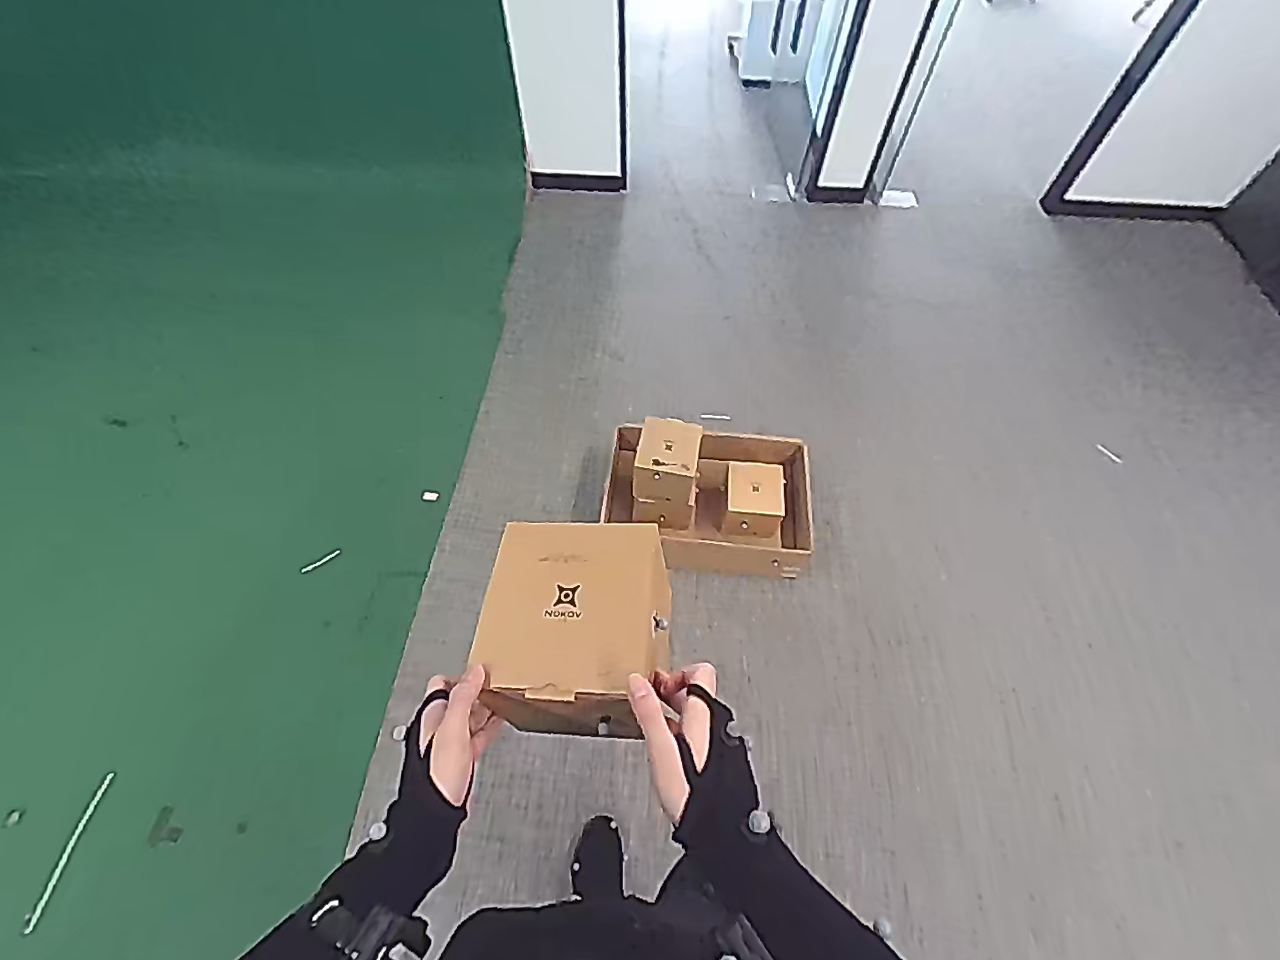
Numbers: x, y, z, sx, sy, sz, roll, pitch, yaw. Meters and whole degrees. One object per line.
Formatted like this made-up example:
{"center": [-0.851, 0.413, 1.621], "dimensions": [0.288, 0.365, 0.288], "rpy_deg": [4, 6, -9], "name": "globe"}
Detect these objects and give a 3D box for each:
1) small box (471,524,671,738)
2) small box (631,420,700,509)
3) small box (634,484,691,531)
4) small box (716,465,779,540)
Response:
{"center": [-0.057, 0.168, 0.593], "dimensions": [0.168, 0.176, 0.179], "rpy_deg": [2, 52, 9], "name": "small box"}
{"center": [0.069, -0.043, 1.548], "dimensions": [0.168, 0.176, 0.179], "rpy_deg": [10, 58, 4], "name": "small box"}
{"center": [0.069, 0.046, 1.686], "dimensions": [0.168, 0.176, 0.179], "rpy_deg": [5, 58, 0], "name": "small box"}
{"center": [0.330, 0.074, 1.680], "dimensions": [0.168, 0.176, 0.179], "rpy_deg": [5, 58, 2], "name": "small box"}
